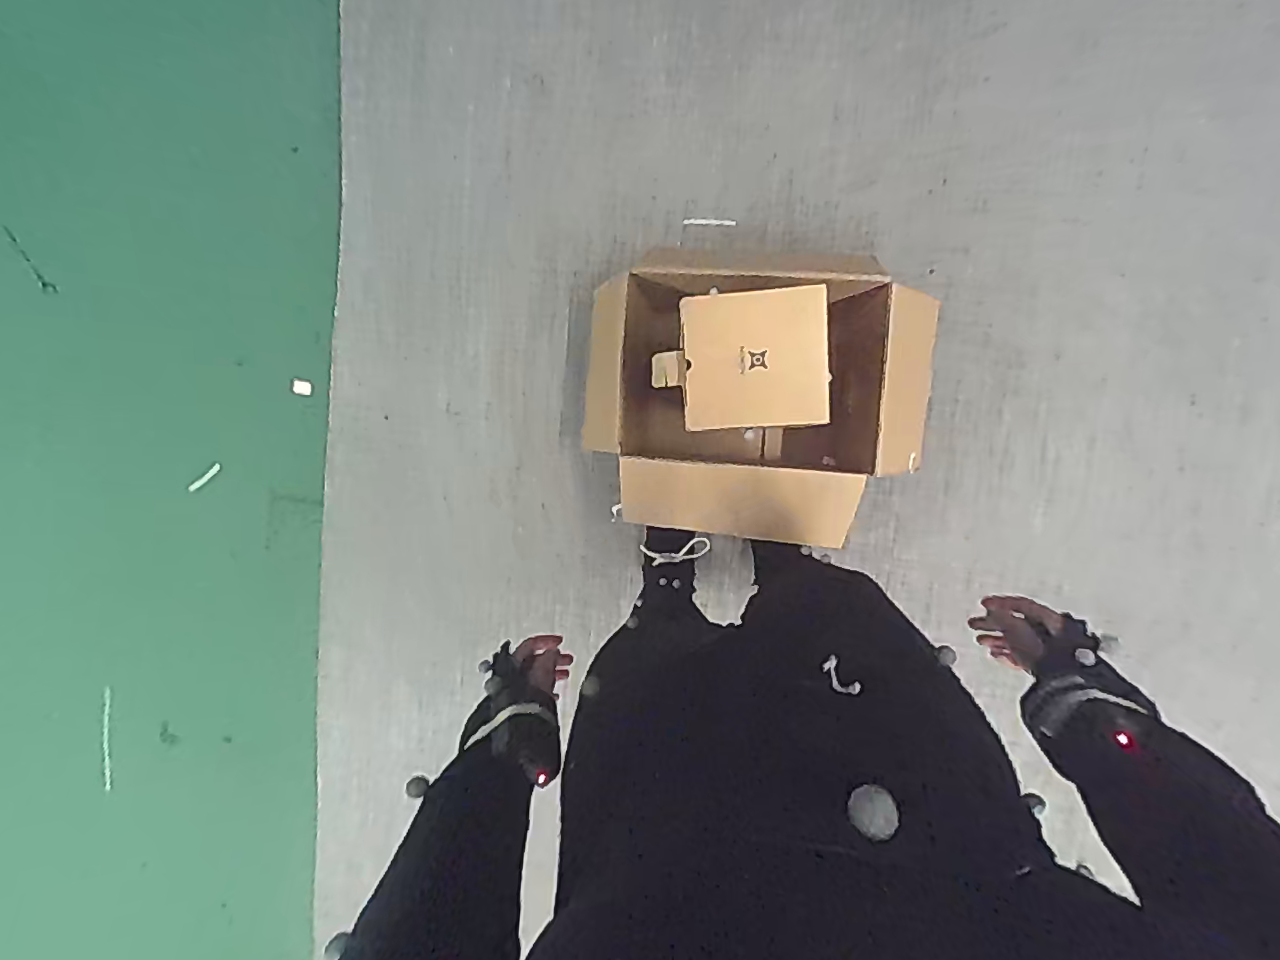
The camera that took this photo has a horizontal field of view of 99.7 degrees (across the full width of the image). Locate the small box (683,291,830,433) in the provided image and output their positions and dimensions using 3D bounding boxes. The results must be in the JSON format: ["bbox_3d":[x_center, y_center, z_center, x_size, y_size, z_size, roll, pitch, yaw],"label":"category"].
[{"bbox_3d":[0.155,-0.151,0.740,0.179,0.176,0.168,-1,95,11],"label":"small box"}]
